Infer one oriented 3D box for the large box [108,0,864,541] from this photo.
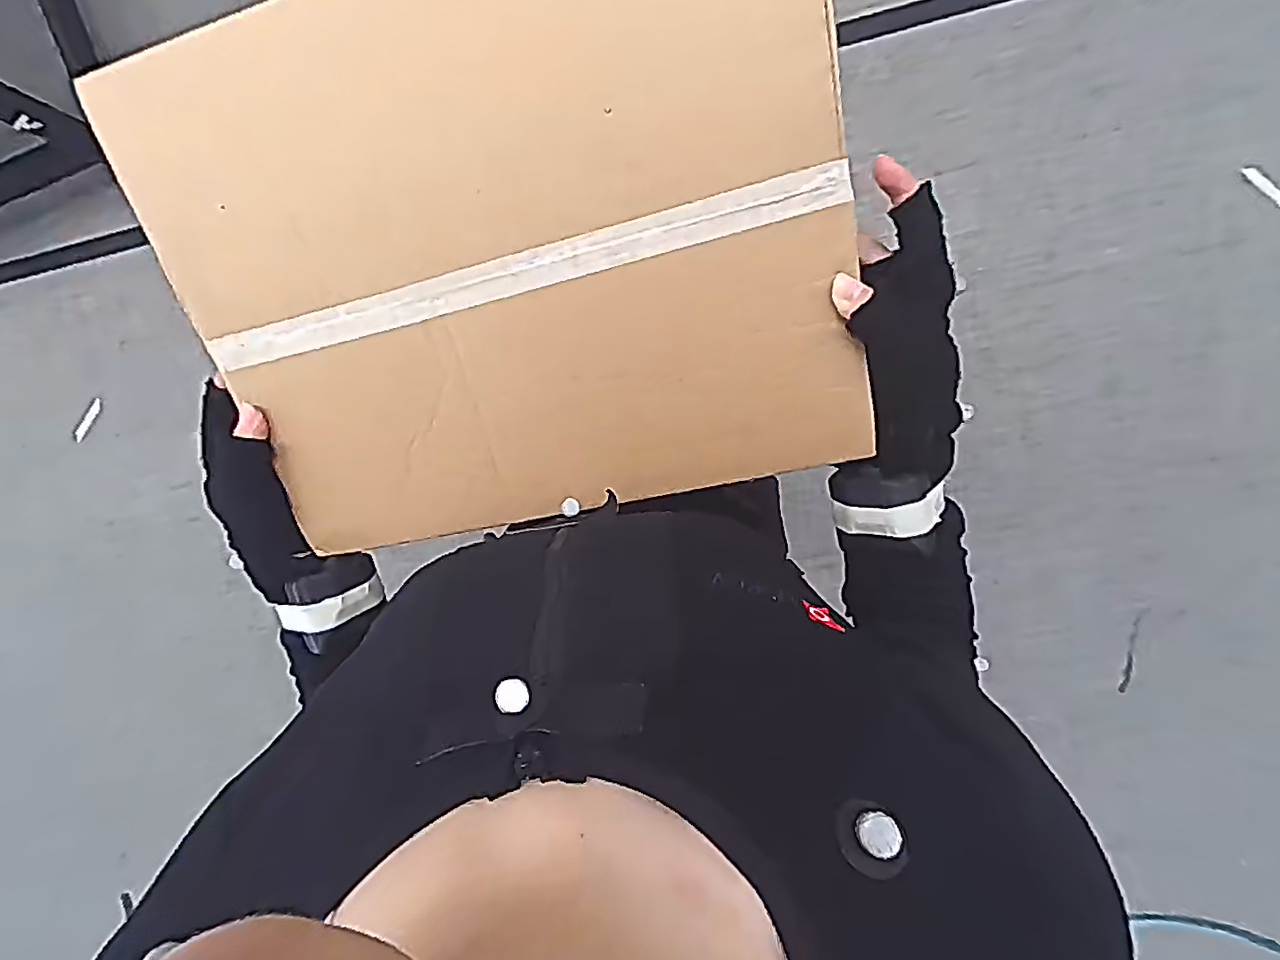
[{"bbox_3d":[-0.068,-0.186,0.465,0.408,0.320,0.320,-11,110,11],"label":"large box"}]
